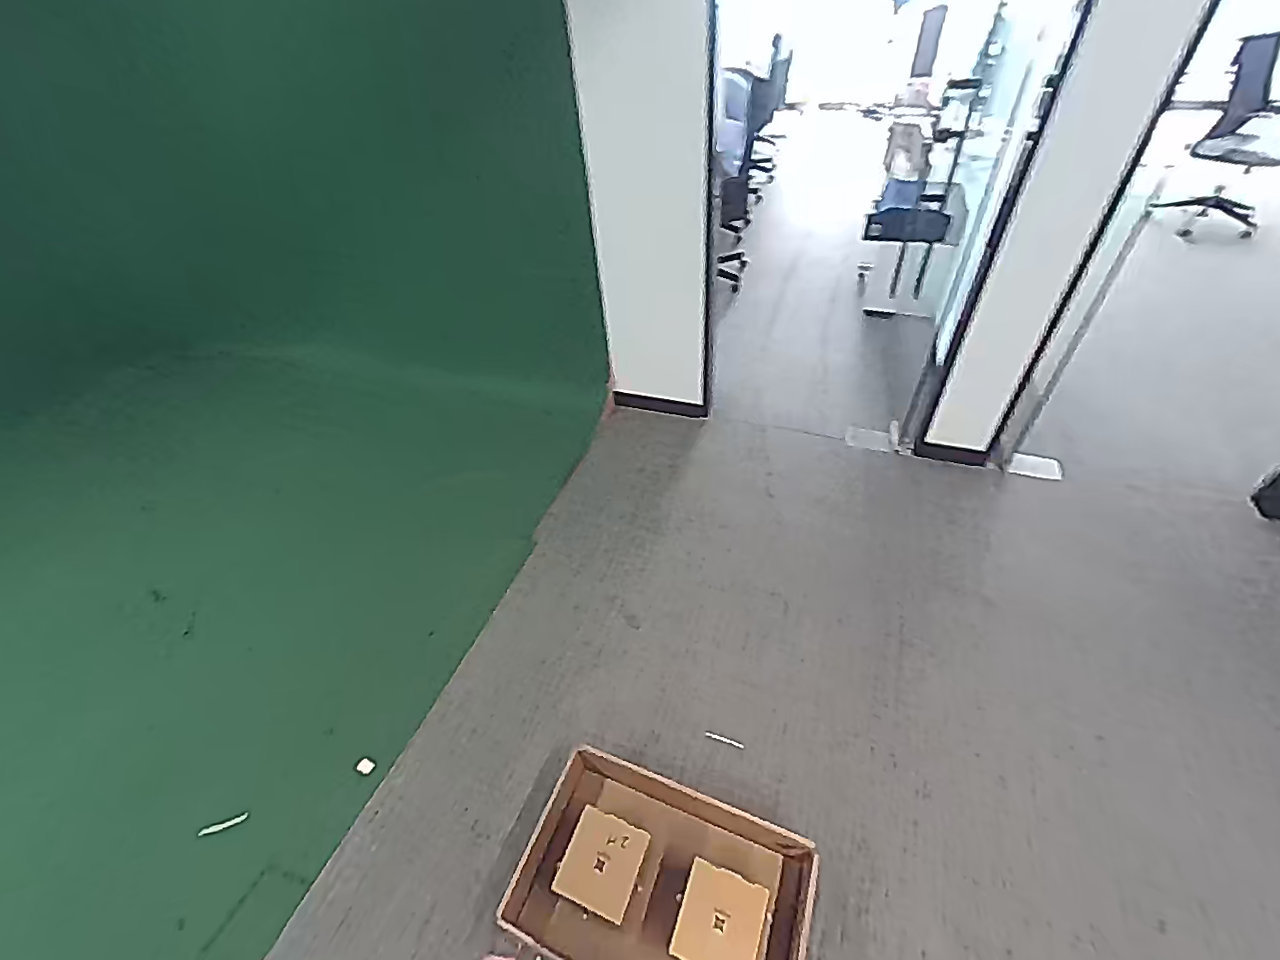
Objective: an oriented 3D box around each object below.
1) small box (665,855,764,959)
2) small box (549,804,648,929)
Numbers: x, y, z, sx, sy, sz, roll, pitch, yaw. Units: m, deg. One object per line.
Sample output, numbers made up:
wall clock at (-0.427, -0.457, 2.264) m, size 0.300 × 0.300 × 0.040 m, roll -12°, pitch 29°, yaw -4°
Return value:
small box at (0.163, 0.959, 1.168) m, size 0.168 × 0.176 × 0.179 m, roll 13°, pitch 47°, yaw 18°
small box at (-0.085, 0.894, 1.248) m, size 0.168 × 0.176 × 0.179 m, roll 15°, pitch 48°, yaw 17°
